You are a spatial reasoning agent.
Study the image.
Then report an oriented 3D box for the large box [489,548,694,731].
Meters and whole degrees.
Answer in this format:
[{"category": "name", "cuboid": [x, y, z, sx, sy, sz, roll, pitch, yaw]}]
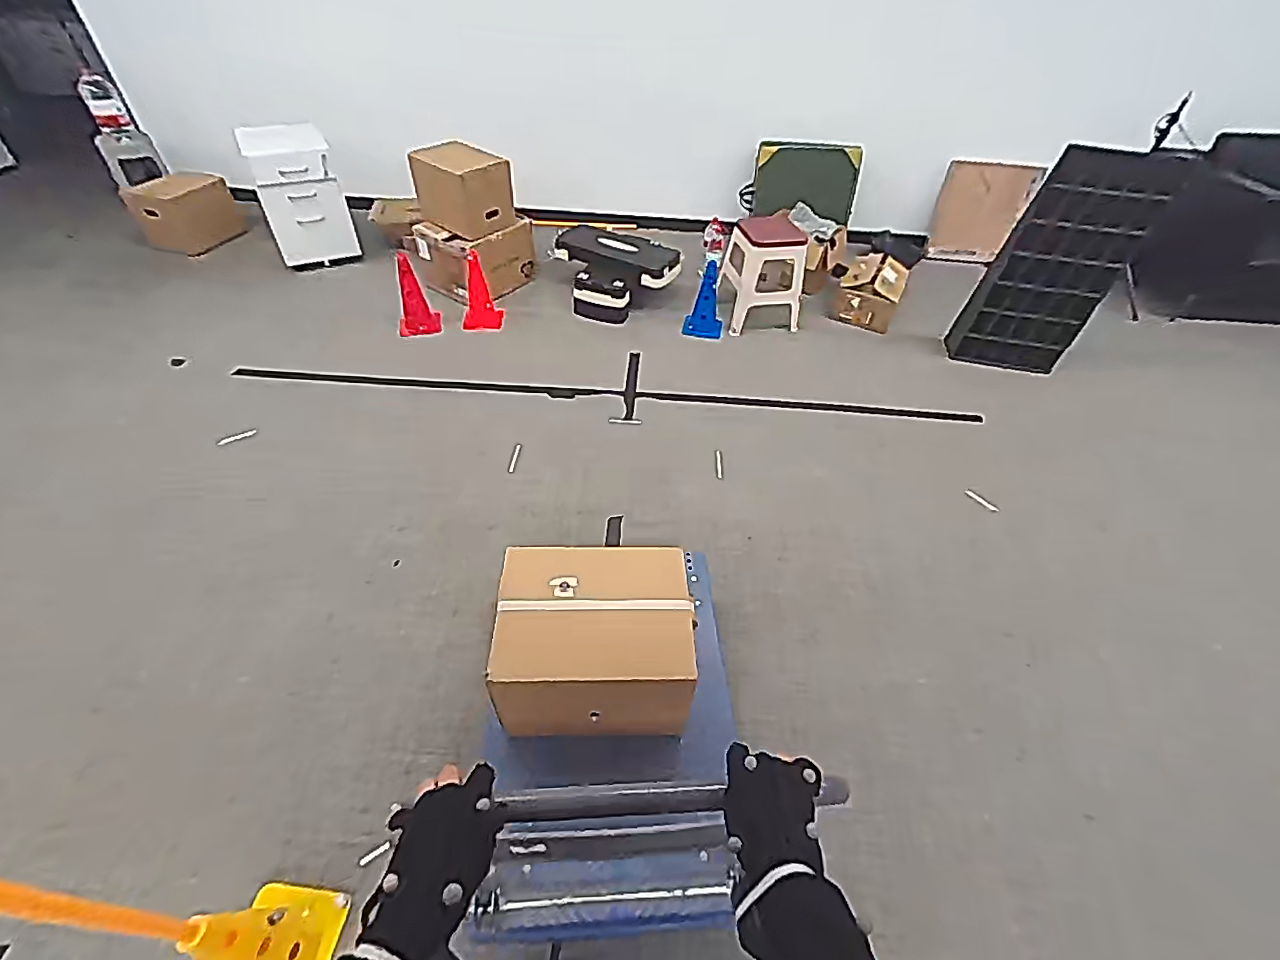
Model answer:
[{"category": "large box", "cuboid": [-0.102, 0.371, 1.252, 0.408, 0.320, 0.320, 0, 47, -3]}]
